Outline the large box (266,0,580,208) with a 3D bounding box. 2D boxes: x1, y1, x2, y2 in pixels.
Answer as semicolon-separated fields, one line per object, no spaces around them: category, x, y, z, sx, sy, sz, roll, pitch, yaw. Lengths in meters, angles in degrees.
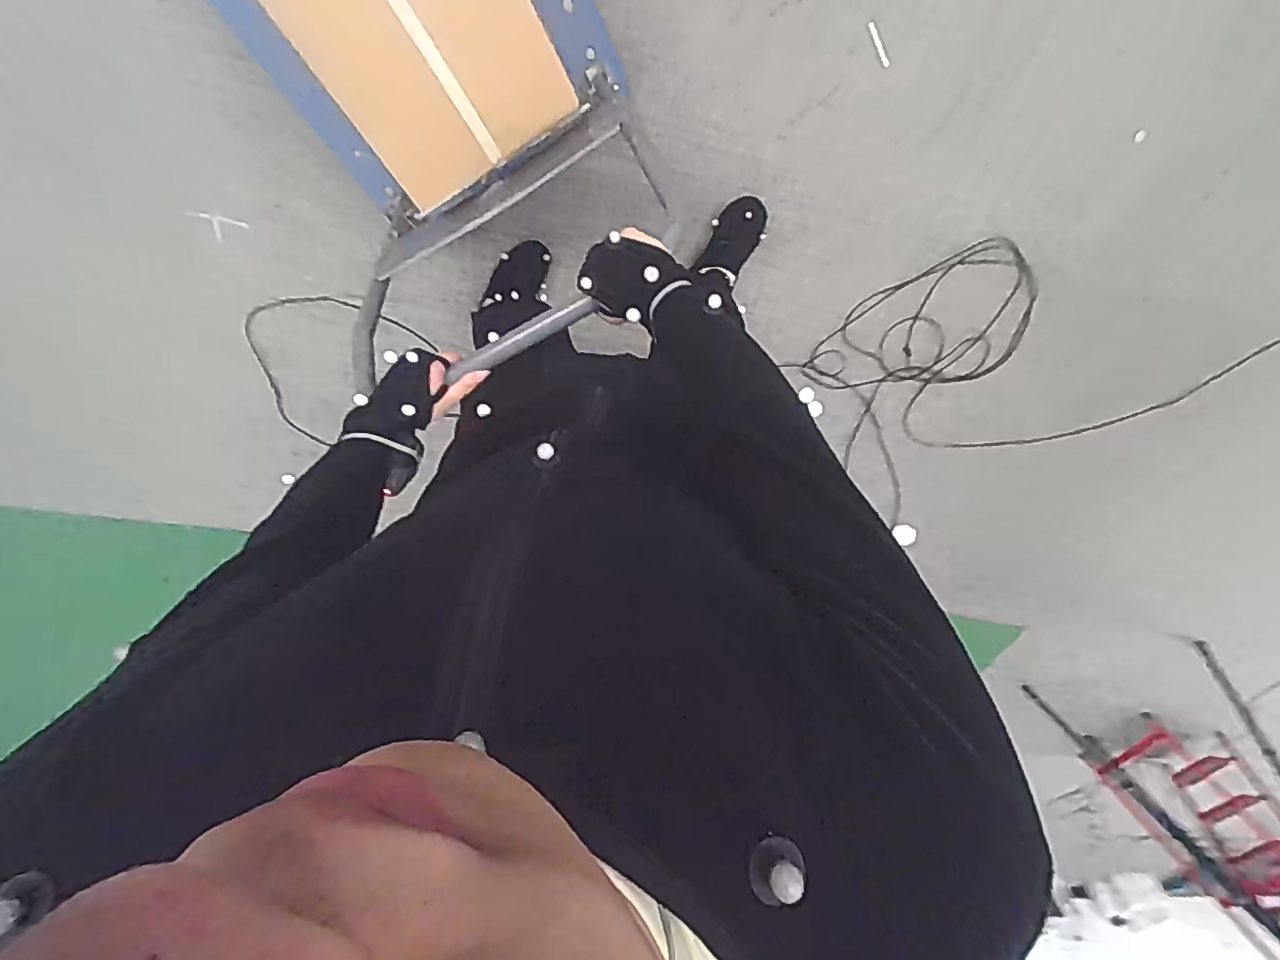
large box;-0.334;-0.740;0.864;0.320;0.320;0.408;-26;131;13
